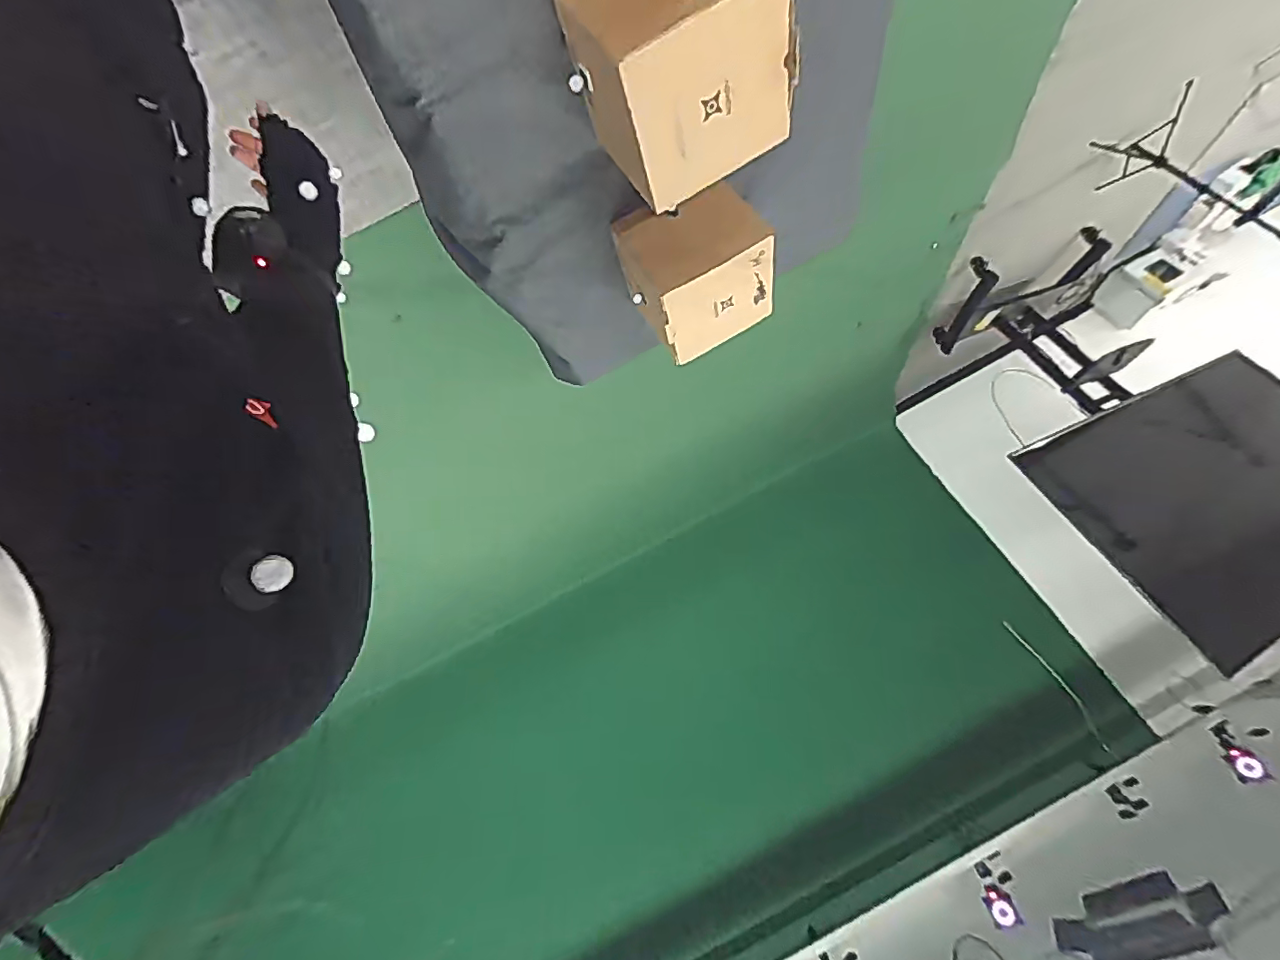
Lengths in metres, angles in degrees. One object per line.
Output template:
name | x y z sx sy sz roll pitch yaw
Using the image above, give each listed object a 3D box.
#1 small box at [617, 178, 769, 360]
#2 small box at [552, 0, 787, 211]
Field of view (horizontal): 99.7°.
small box | 0.078 -0.325 0.831 0.179 0.176 0.168 -29 156 -1
small box | 0.035 -0.440 0.575 0.179 0.176 0.168 -30 154 2
